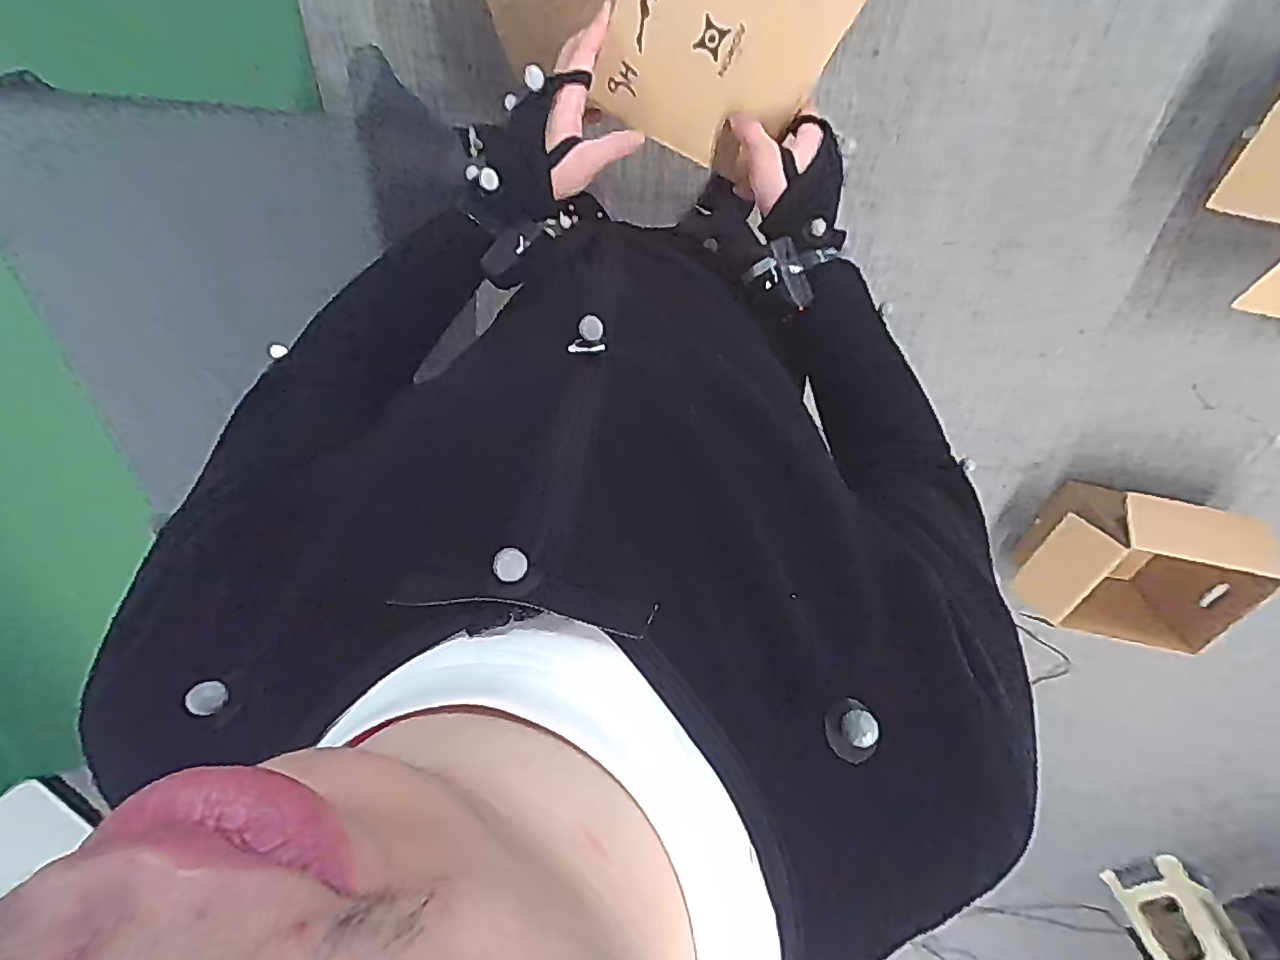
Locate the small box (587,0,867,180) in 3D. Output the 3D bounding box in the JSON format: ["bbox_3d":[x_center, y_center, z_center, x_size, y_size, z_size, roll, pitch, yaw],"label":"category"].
[{"bbox_3d":[0.066,-0.414,0.481,0.179,0.176,0.168,17,135,-20],"label":"small box"}]
